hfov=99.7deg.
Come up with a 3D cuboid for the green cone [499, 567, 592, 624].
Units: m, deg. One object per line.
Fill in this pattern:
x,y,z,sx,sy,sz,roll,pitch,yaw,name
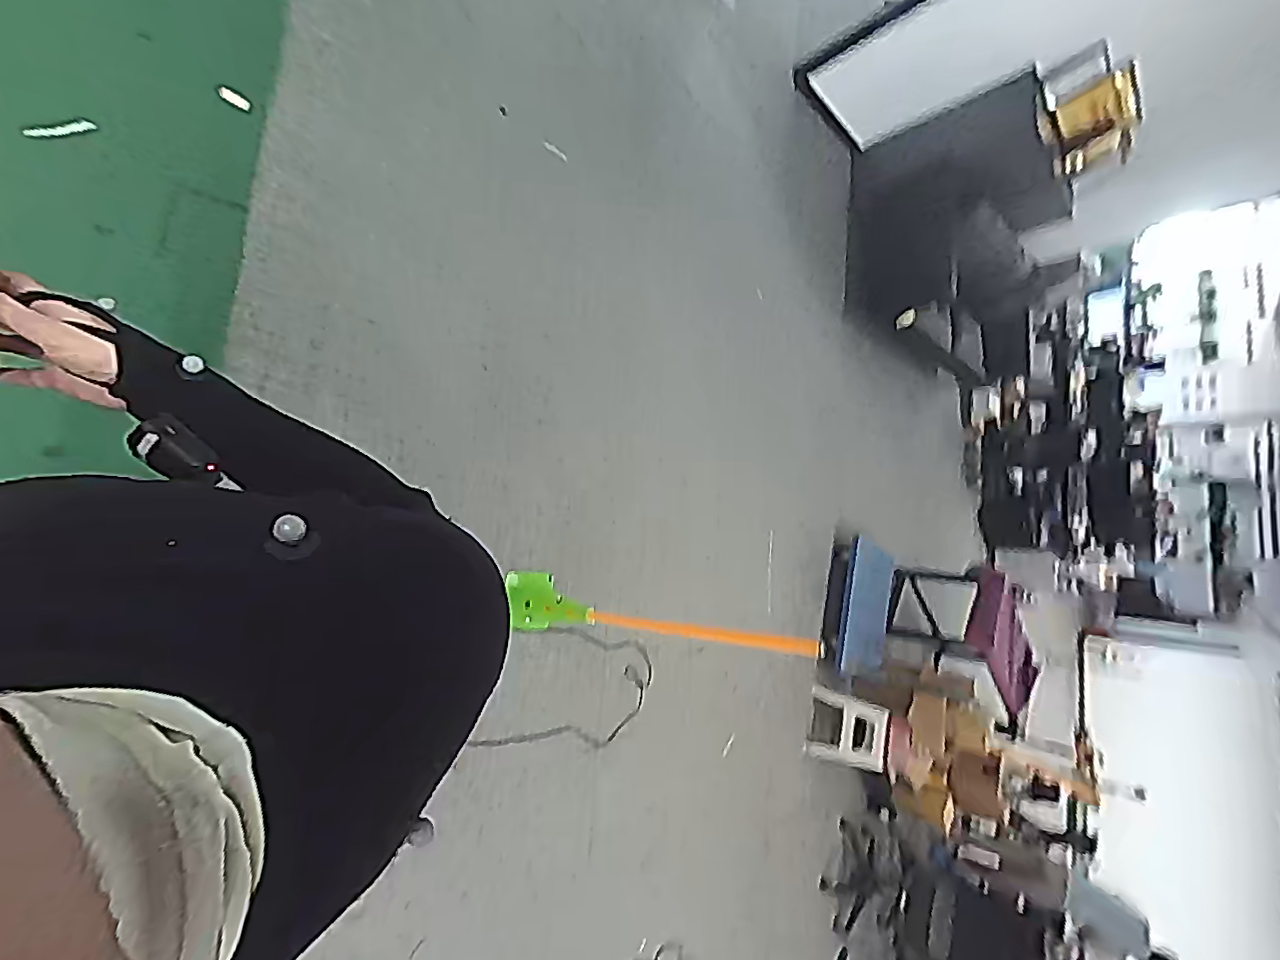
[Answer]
-0.290,0.413,1.812,0.200,0.368,0.202,11,82,-43,green cone
